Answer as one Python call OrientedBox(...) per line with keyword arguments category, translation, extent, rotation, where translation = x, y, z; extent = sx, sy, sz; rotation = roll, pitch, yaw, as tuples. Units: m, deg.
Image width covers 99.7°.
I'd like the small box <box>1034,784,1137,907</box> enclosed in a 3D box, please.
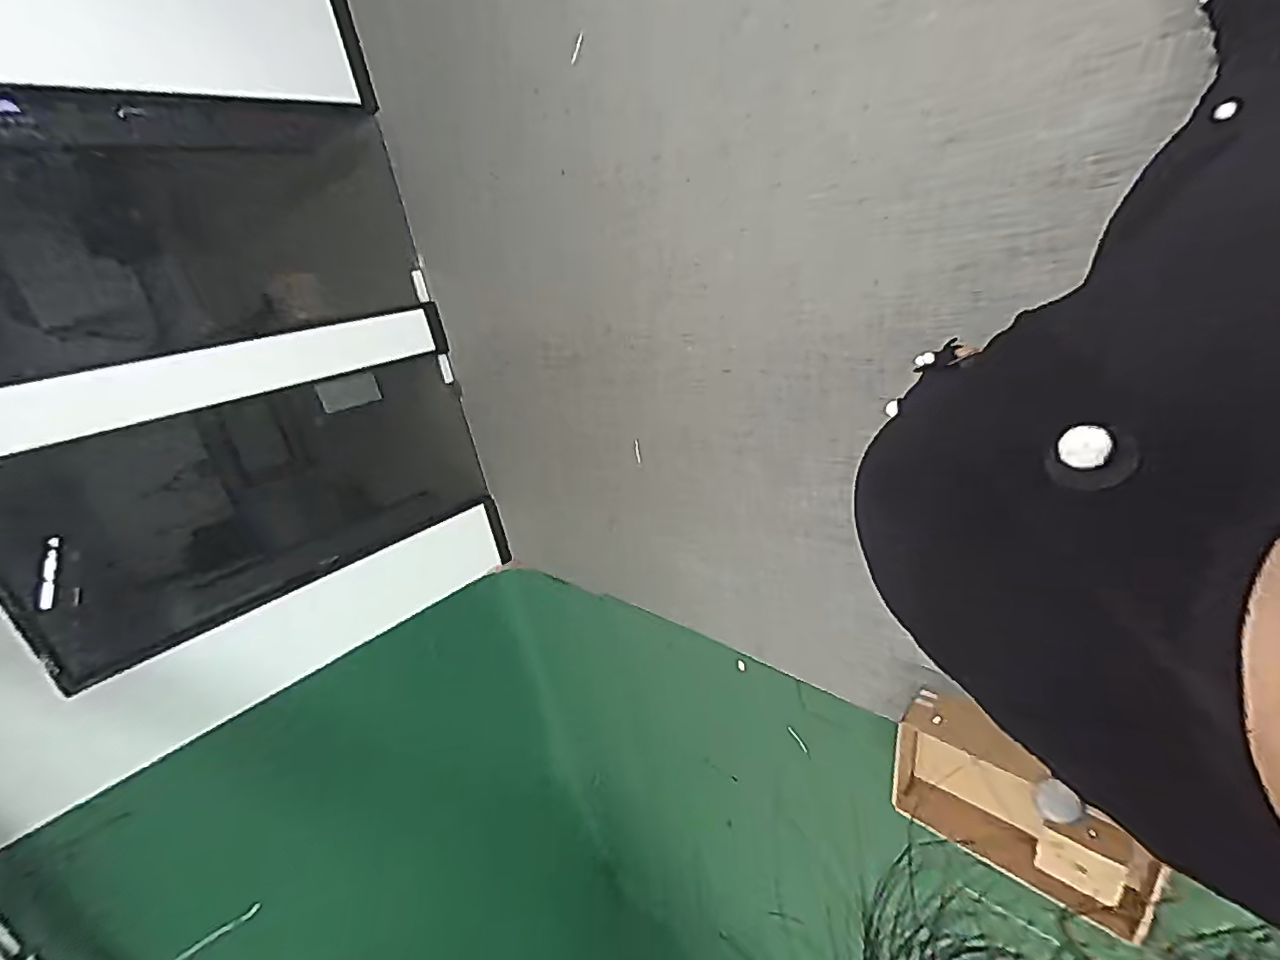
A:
OrientedBox(category="small box", translation=(1.178, 0.952, 1.428), extent=(0.179, 0.176, 0.168), rotation=(15, 121, 43))
